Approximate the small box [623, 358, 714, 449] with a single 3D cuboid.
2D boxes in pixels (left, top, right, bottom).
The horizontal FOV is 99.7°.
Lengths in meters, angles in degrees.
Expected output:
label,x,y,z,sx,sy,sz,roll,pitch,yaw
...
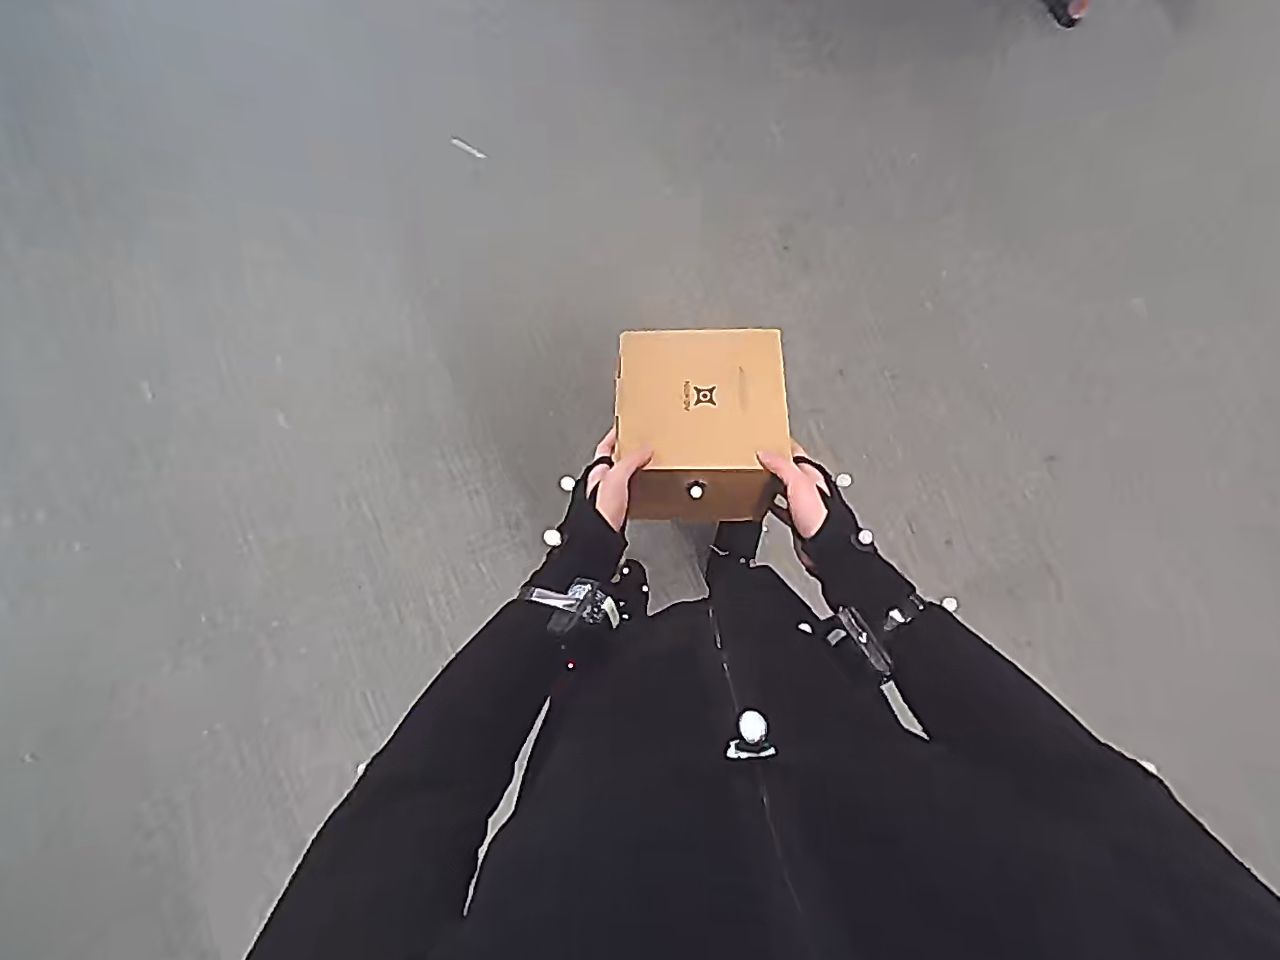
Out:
label,x,y,z,sx,sy,sz,roll,pitch,yaw
small box,0.065,-0.188,1.372,0.179,0.176,0.168,-20,87,-5
